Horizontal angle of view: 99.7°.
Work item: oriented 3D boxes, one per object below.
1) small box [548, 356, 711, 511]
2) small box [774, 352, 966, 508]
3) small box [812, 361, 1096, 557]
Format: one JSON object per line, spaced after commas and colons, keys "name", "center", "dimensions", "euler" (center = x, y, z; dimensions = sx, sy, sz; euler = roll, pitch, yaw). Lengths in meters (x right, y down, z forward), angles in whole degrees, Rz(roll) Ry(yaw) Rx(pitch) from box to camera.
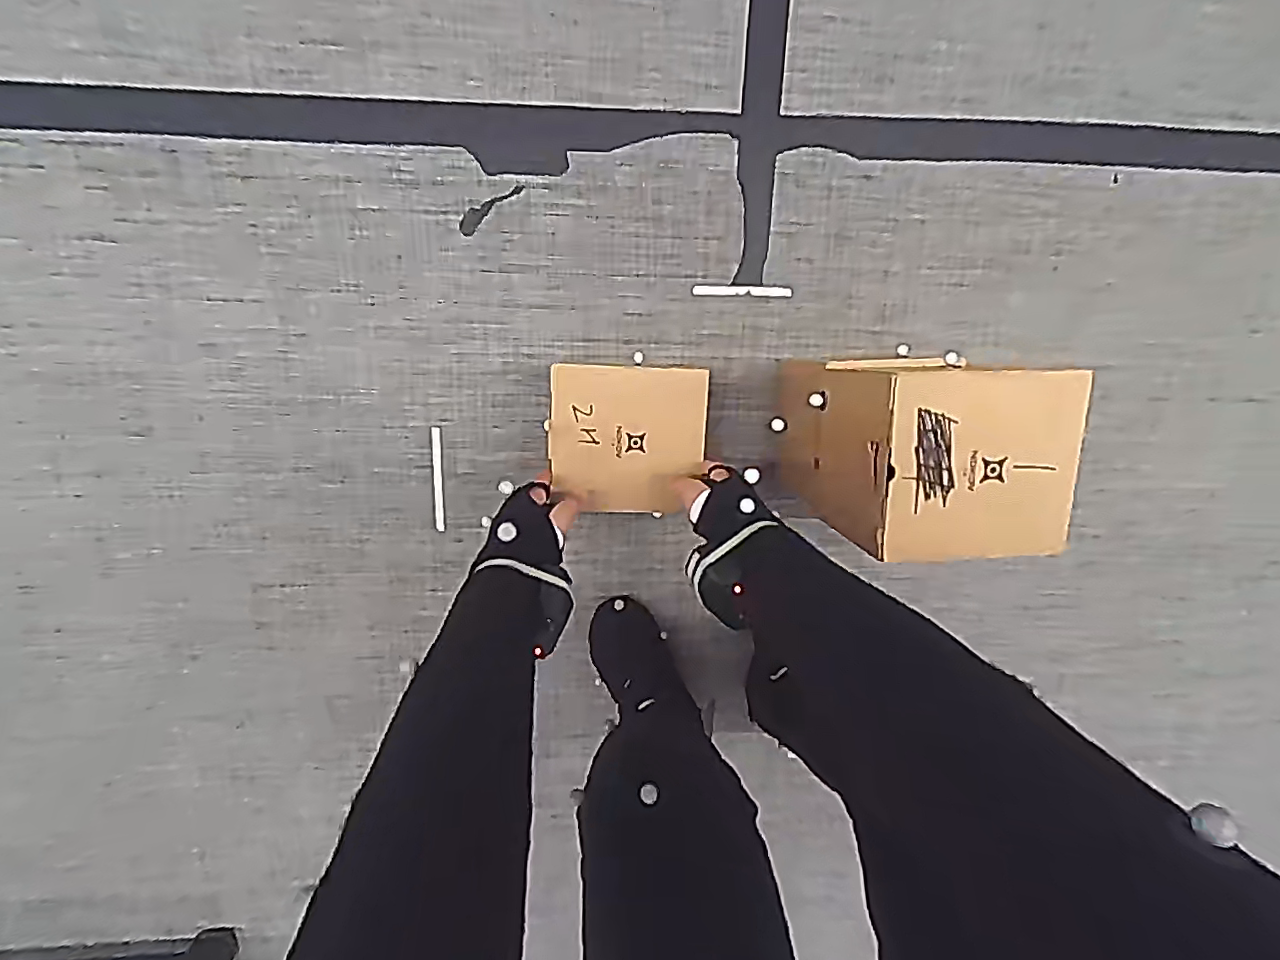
{"name": "small box", "center": [-0.019, -0.065, 0.670], "dimensions": [0.179, 0.176, 0.168], "euler": [1, 103, -4]}
{"name": "small box", "center": [0.279, -0.073, 0.695], "dimensions": [0.168, 0.176, 0.179], "euler": [-2, 104, -4]}
{"name": "small box", "center": [0.284, -0.031, 0.534], "dimensions": [0.179, 0.176, 0.168], "euler": [-2, 103, -5]}
